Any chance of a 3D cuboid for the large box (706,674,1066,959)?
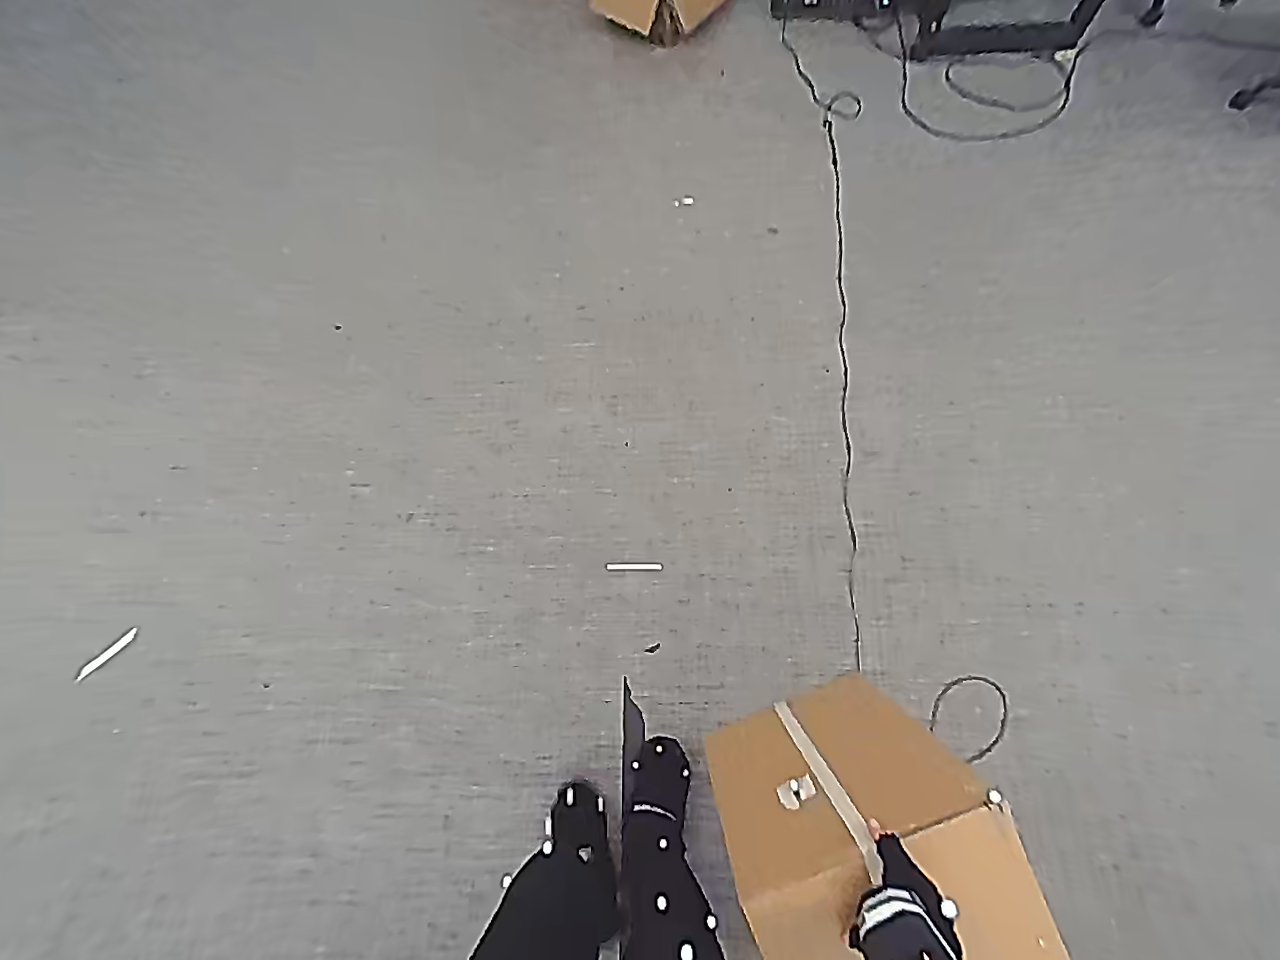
[{"bbox_3d":[0.320,0.552,0.794,0.320,0.408,0.320,-23,92,0],"label":"large box"}]
